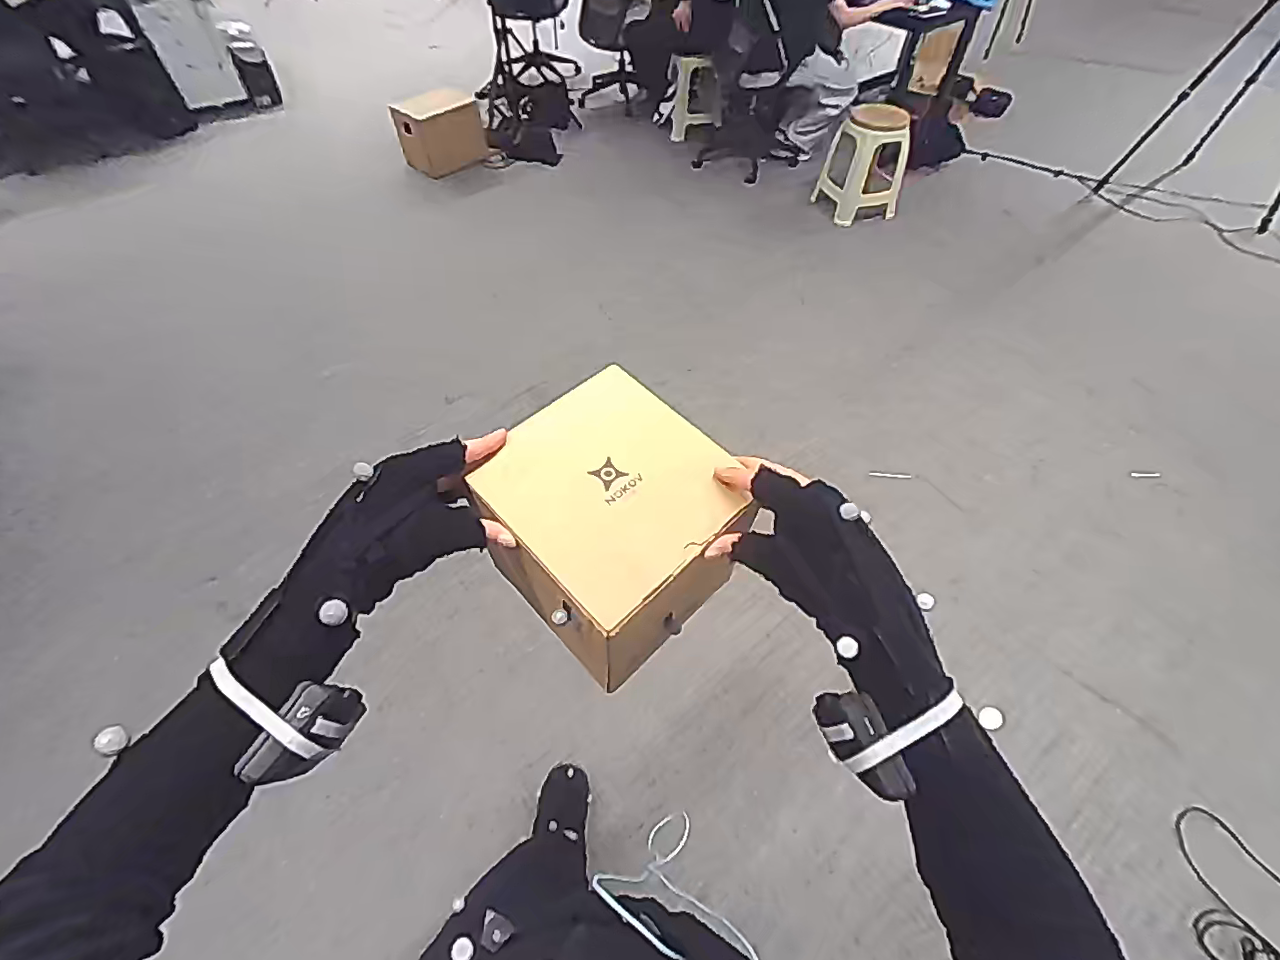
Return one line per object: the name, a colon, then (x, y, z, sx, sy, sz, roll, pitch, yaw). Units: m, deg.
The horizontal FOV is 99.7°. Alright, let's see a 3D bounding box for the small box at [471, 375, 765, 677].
small box: (-0.023, 0.046, 0.487, 0.168, 0.176, 0.179, -37, 67, -25)
